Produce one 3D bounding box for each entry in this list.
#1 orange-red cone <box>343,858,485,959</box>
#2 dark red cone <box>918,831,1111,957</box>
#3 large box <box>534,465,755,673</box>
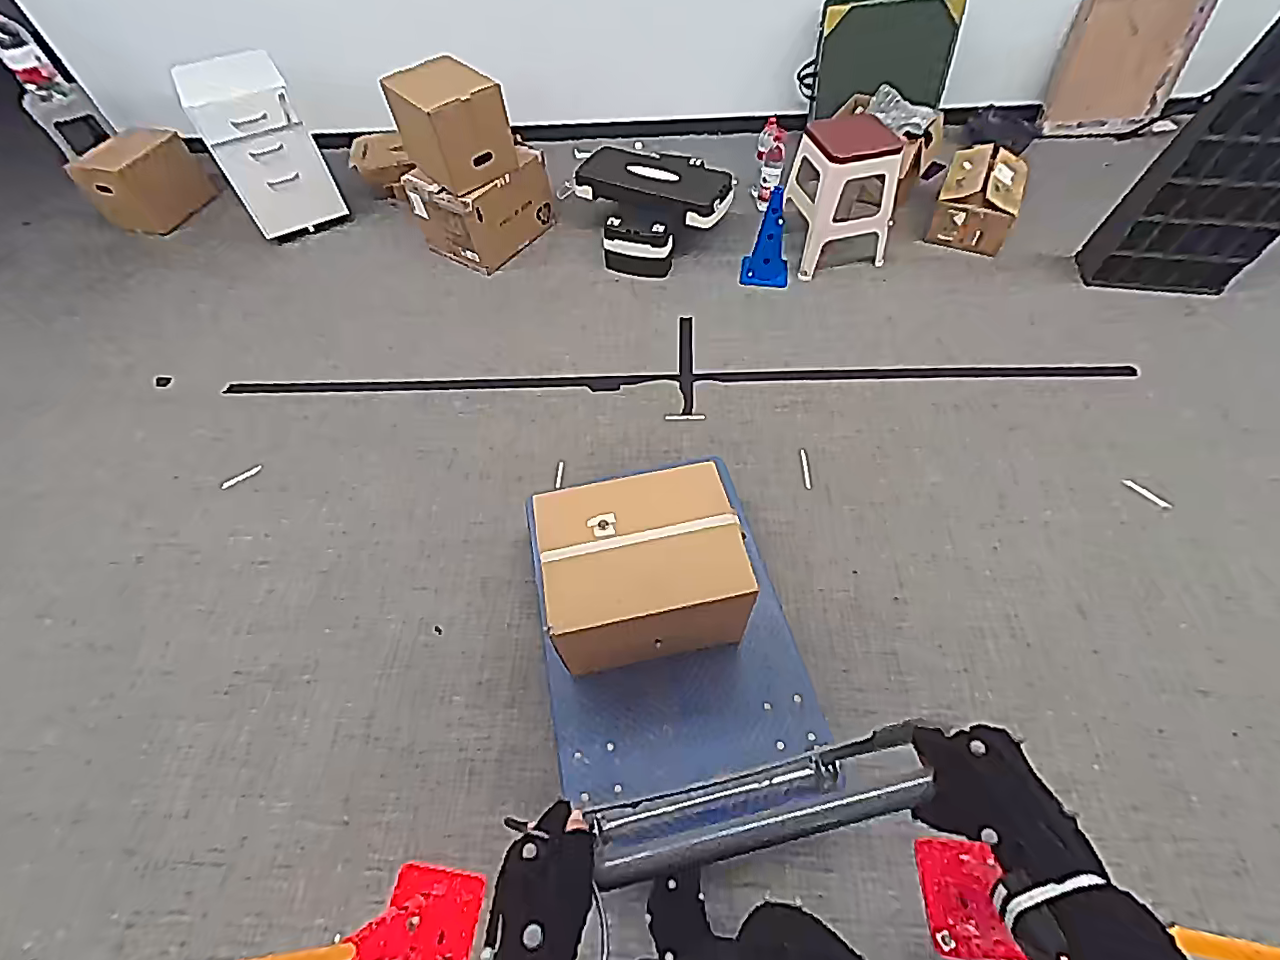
[{"bbox_3d":[-0.447,0.828,0.995,0.198,0.360,0.199,7,55,7],"label":"orange-red cone"},{"bbox_3d":[0.684,0.747,0.967,0.201,0.394,0.202,1,56,1],"label":"dark red cone"},{"bbox_3d":[0.004,0.209,1.217,0.408,0.320,0.320,-11,57,-4],"label":"large box"}]
